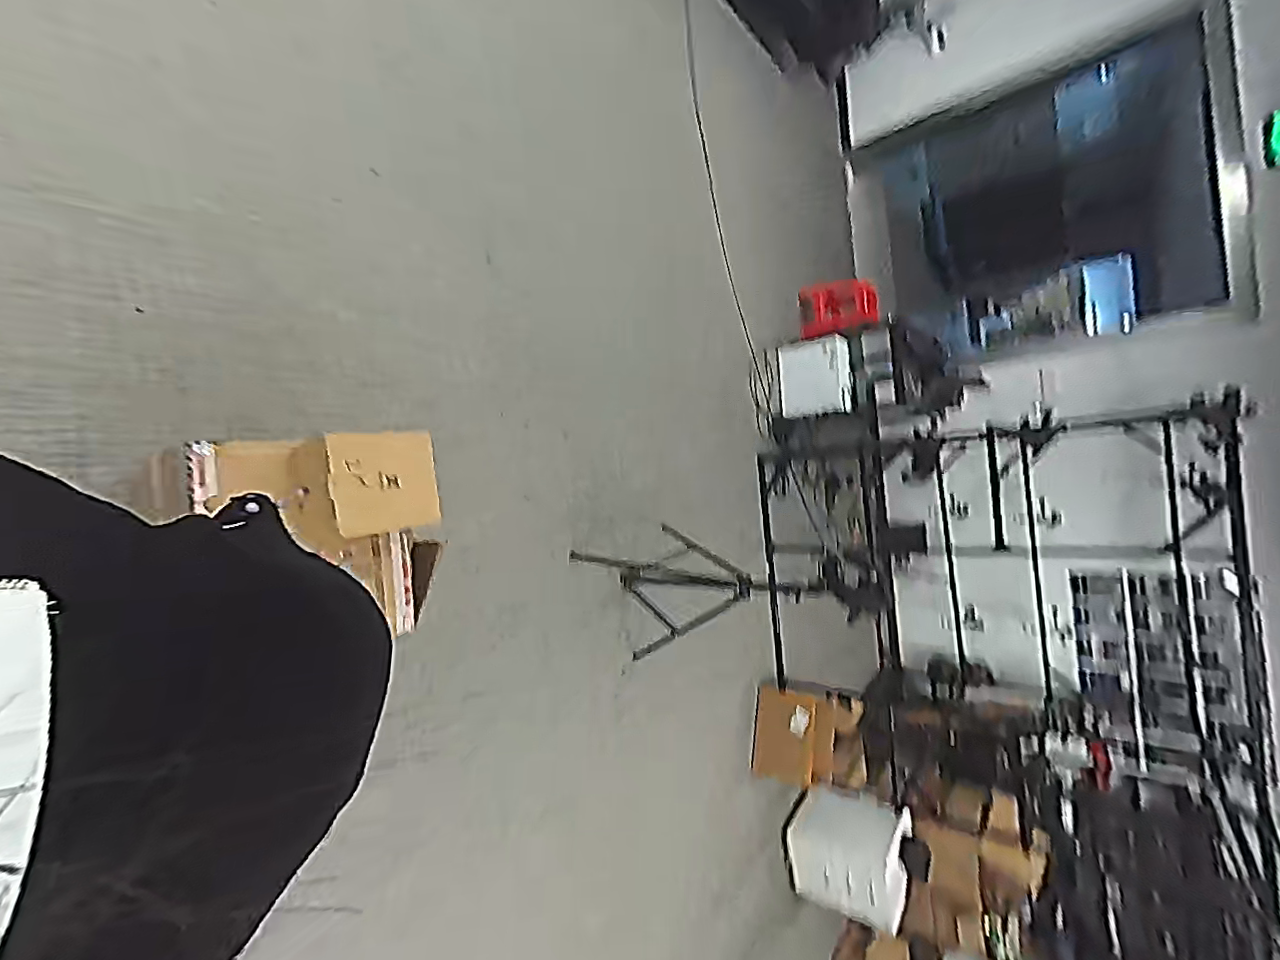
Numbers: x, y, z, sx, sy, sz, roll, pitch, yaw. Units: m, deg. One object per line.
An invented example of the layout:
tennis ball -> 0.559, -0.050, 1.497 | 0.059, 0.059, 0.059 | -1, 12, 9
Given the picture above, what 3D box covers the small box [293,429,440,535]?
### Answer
small box -> -0.482, 0.004, 0.954 | 0.179, 0.176, 0.168 | -7, 89, -48
